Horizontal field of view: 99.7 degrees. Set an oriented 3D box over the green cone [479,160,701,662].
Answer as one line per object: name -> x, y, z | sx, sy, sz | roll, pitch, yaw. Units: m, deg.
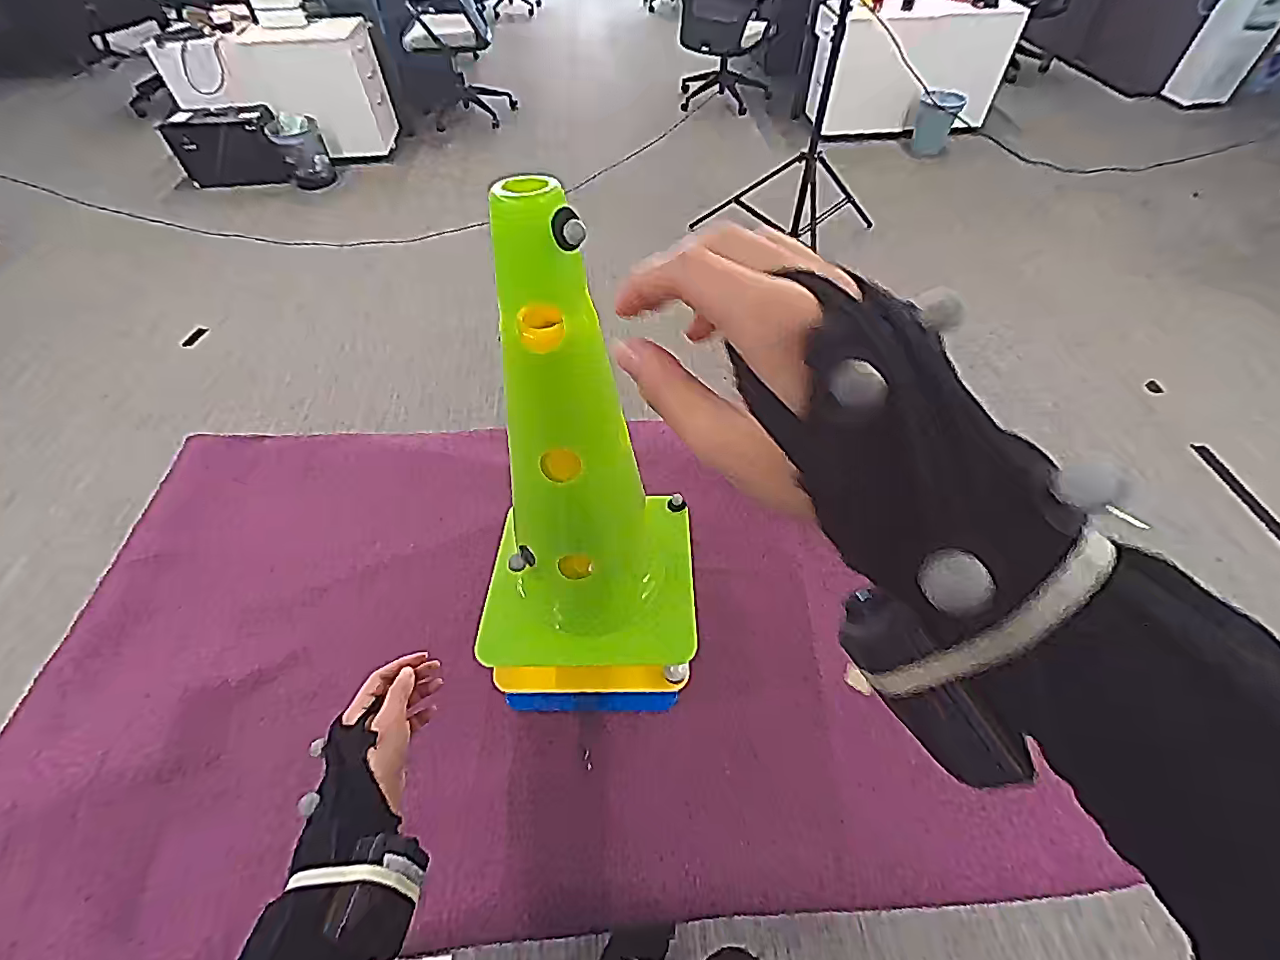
green cone -> -0.054, -0.037, 0.413 | 0.200, 0.368, 0.202 | -2, 45, 2
